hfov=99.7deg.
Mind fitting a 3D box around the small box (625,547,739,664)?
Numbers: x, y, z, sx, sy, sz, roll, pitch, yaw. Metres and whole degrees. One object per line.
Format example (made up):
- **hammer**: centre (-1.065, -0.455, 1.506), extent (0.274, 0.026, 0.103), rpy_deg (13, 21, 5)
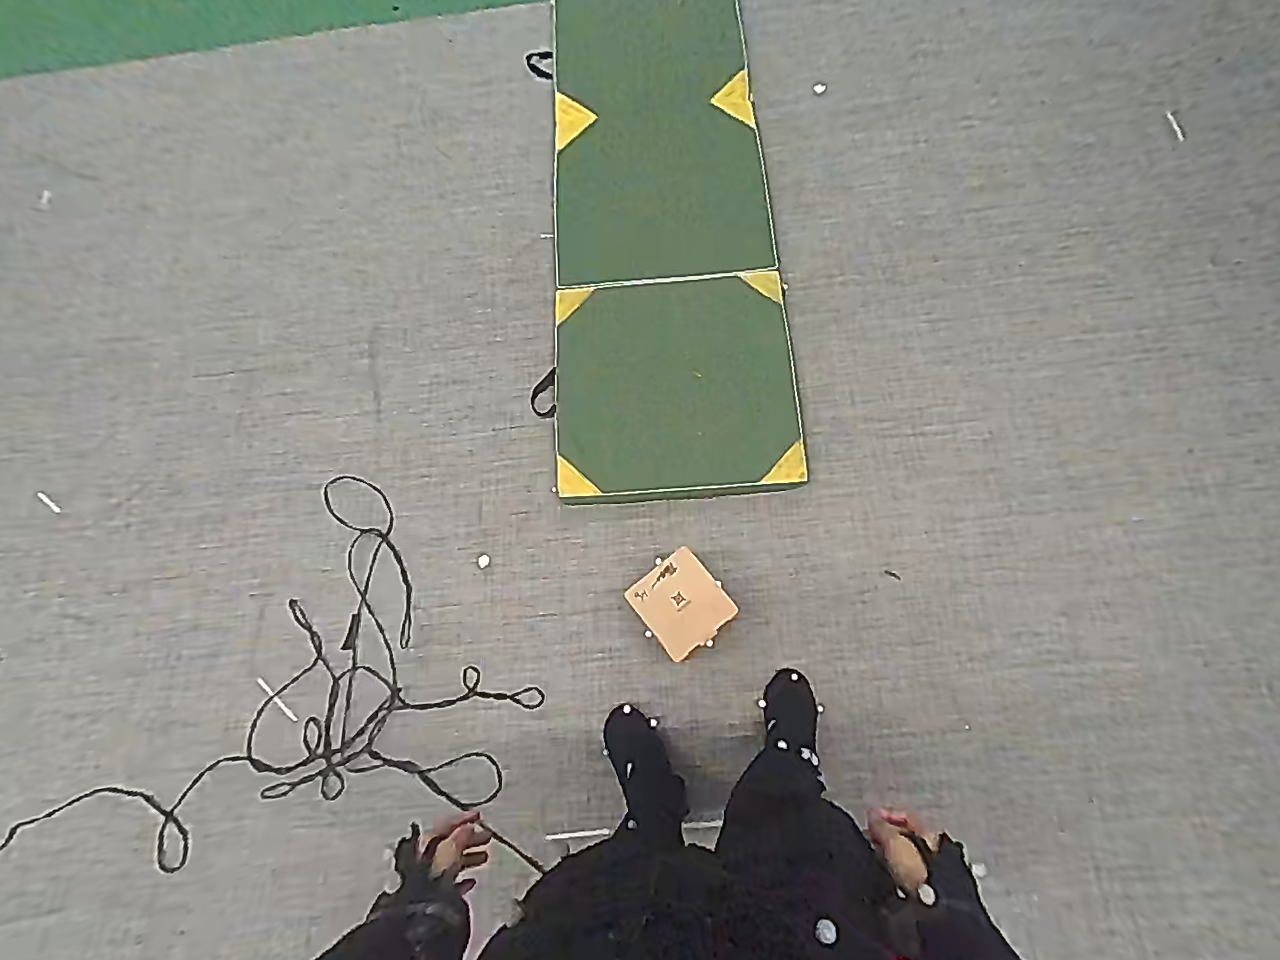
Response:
- **small box**: centre (0.090, 0.271, 1.163), extent (0.168, 0.176, 0.179), rpy_deg (-37, 73, -8)
